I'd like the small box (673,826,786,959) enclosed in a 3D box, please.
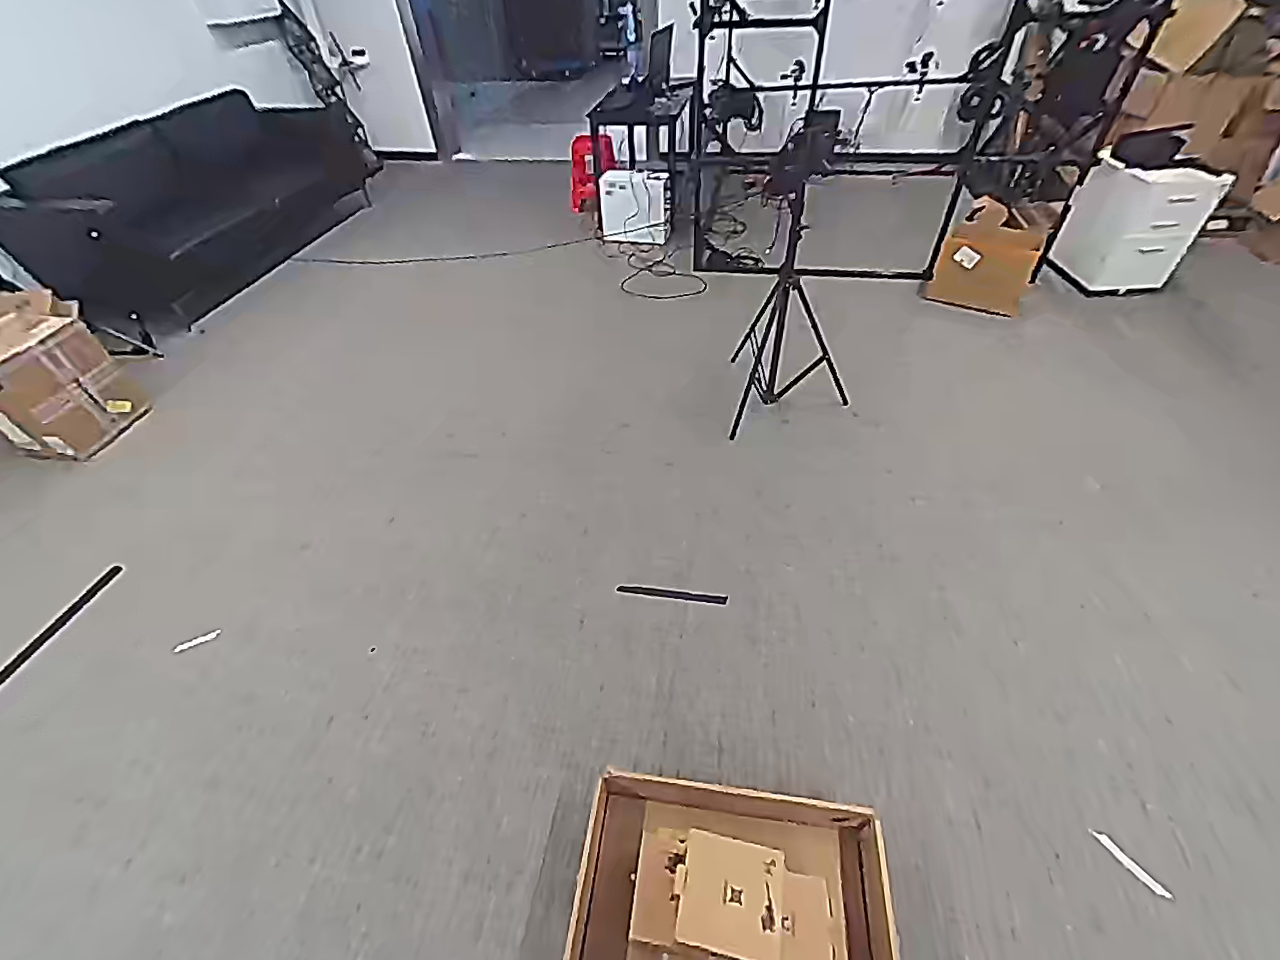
[{"bbox_3d":[0.160,0.761,0.979,0.179,0.176,0.168,8,46,11],"label":"small box"}]

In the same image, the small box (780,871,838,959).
[{"bbox_3d":[0.284,0.891,1.073,0.179,0.176,0.168,3,45,10],"label":"small box"}]
